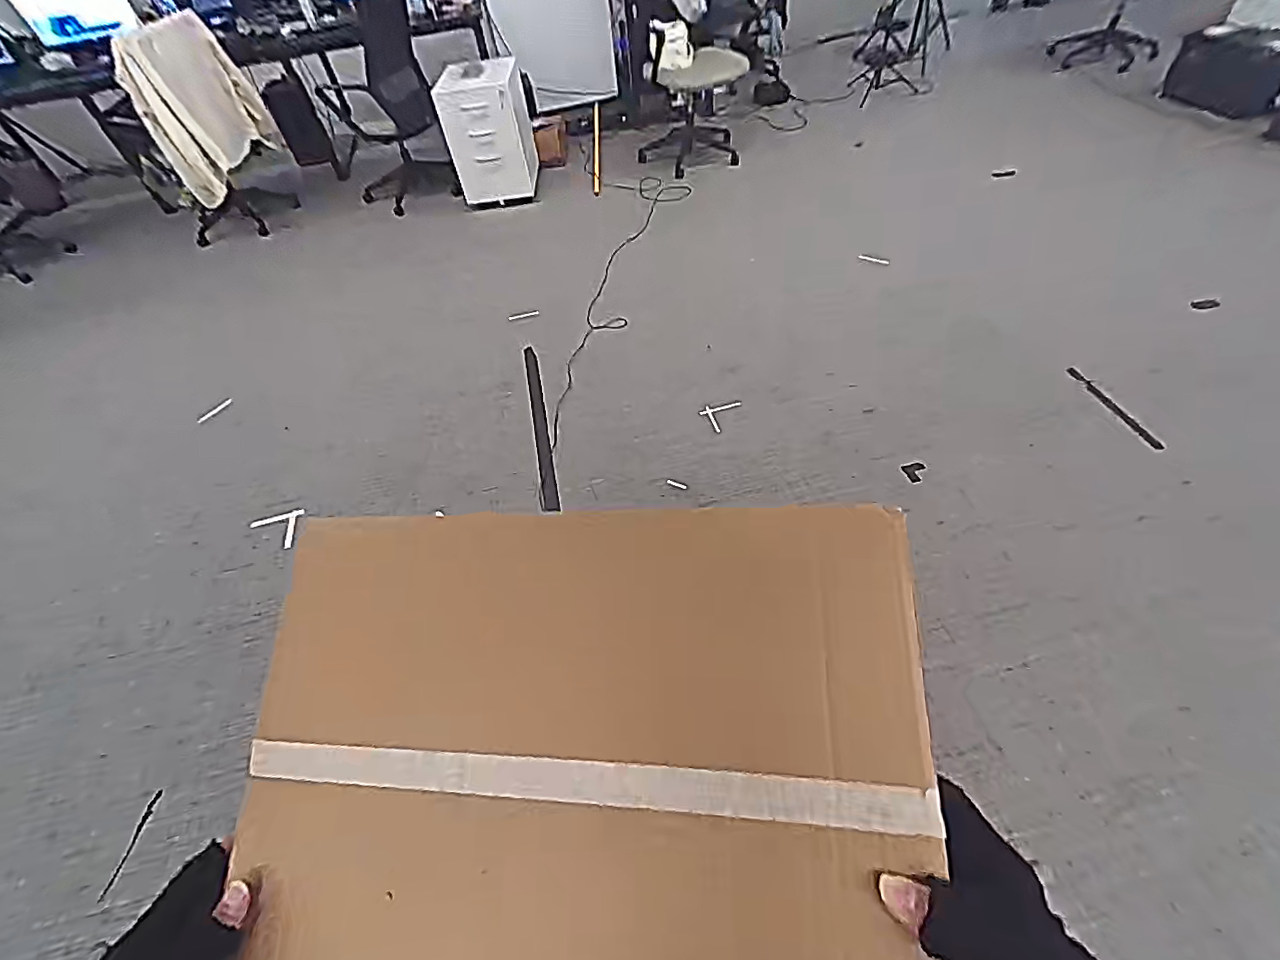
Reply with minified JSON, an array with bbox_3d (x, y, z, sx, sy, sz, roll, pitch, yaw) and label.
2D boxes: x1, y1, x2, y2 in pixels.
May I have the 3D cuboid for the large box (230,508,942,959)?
[{"bbox_3d":[-0.018,0.216,0.457,0.408,0.320,0.320,-2,73,12],"label":"large box"}]
